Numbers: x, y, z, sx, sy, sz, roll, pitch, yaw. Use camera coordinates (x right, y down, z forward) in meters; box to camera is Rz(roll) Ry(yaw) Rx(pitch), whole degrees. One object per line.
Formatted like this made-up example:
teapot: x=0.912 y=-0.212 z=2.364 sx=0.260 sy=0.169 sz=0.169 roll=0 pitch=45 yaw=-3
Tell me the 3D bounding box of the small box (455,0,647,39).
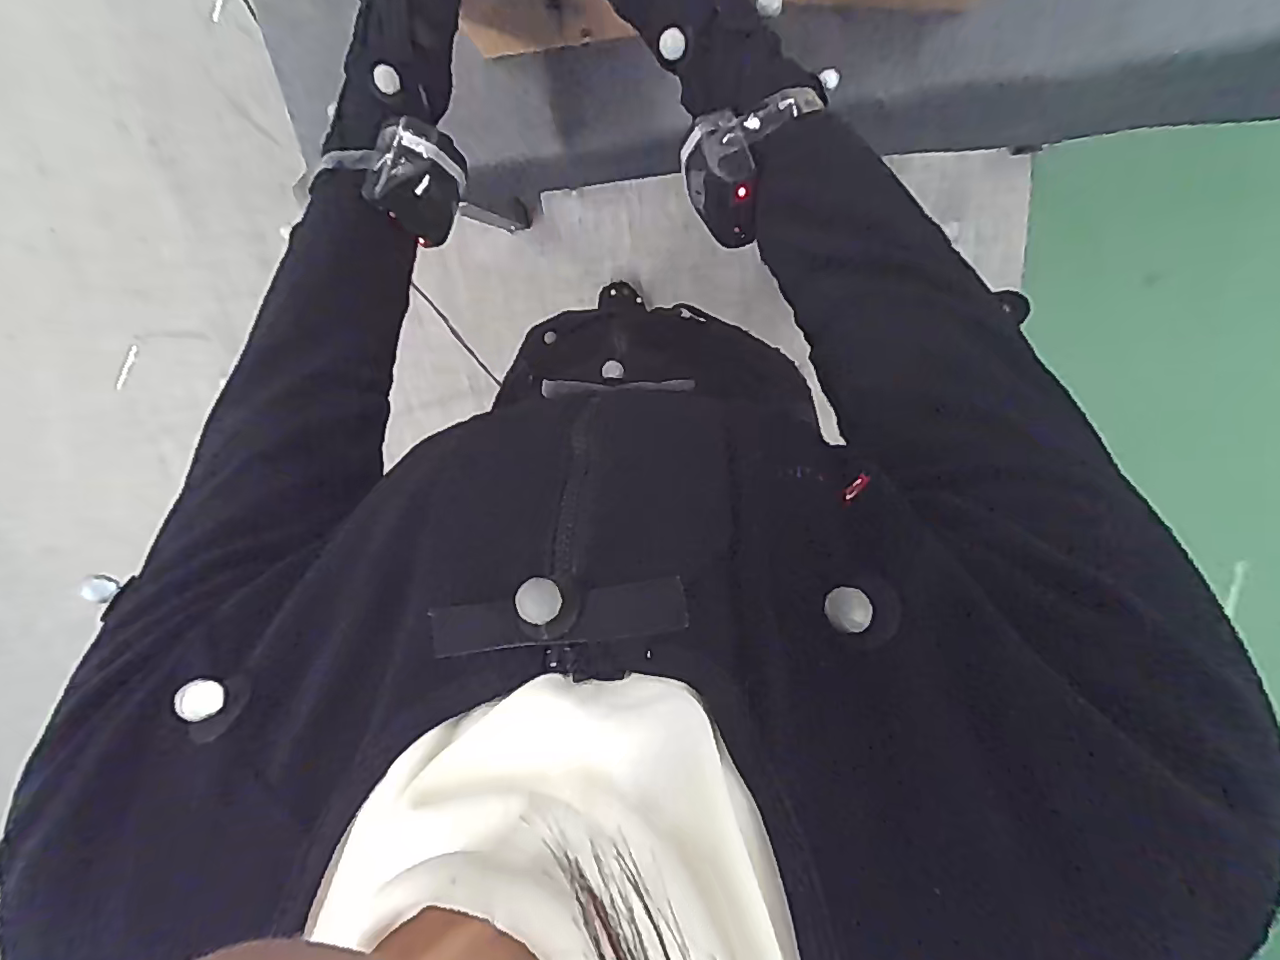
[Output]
small box: x=-0.083 y=-0.486 z=0.427 sx=0.168 sy=0.176 sz=0.179 roll=-5 pitch=110 yaw=3
